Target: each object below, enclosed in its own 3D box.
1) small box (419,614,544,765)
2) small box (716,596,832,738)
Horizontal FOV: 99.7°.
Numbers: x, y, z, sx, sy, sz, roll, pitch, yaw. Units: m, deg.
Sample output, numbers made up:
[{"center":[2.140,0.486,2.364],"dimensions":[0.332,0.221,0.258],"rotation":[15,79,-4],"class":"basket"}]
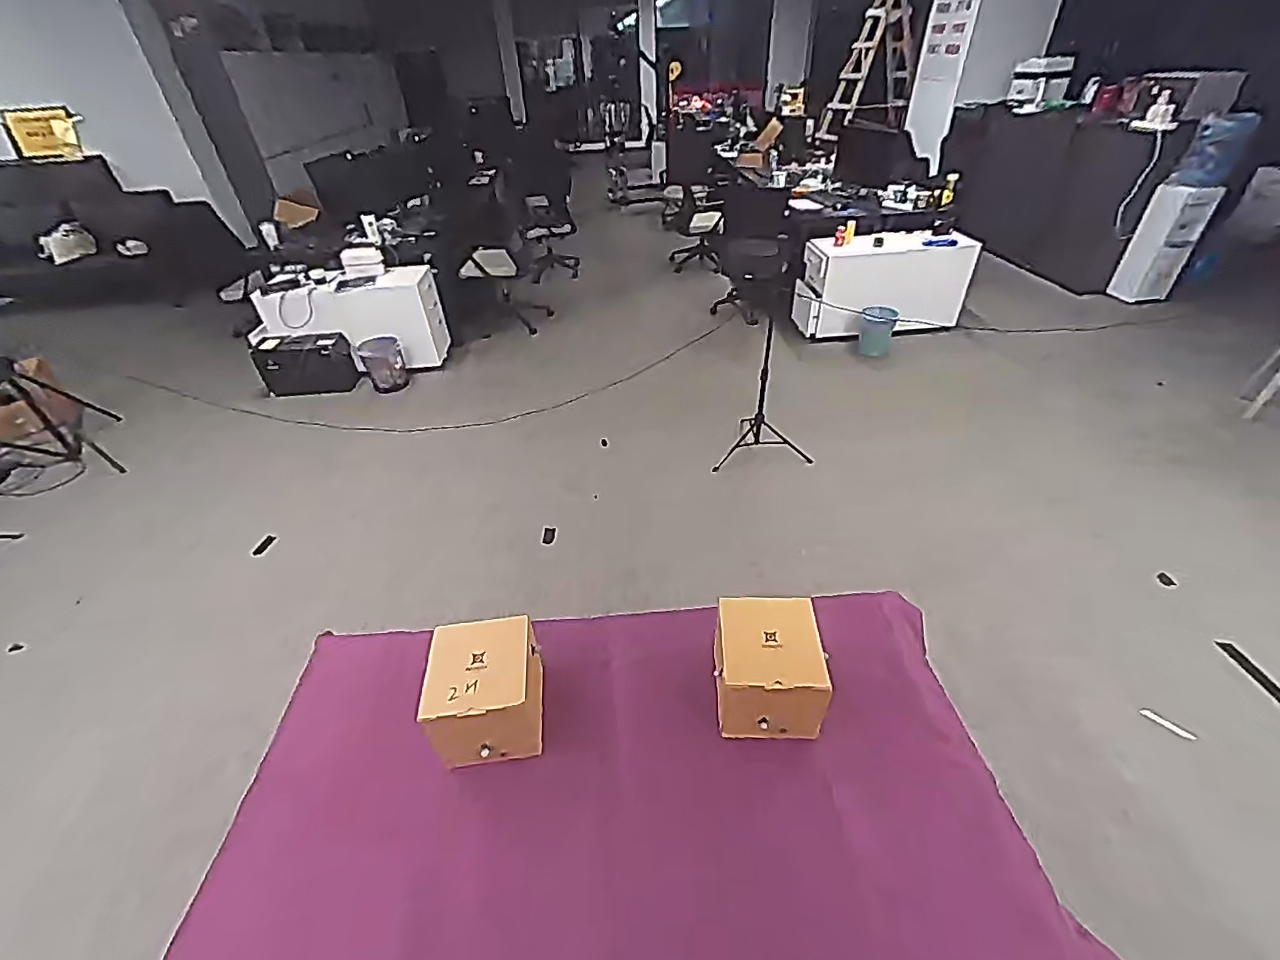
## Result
[{"center":[-0.263,0.362,0.941],"dimensions":[0.168,0.176,0.179],"rotation":[-6,39,-4],"class":"small box"},{"center":[0.223,0.327,0.953],"dimensions":[0.168,0.176,0.179],"rotation":[-1,39,4],"class":"small box"}]
